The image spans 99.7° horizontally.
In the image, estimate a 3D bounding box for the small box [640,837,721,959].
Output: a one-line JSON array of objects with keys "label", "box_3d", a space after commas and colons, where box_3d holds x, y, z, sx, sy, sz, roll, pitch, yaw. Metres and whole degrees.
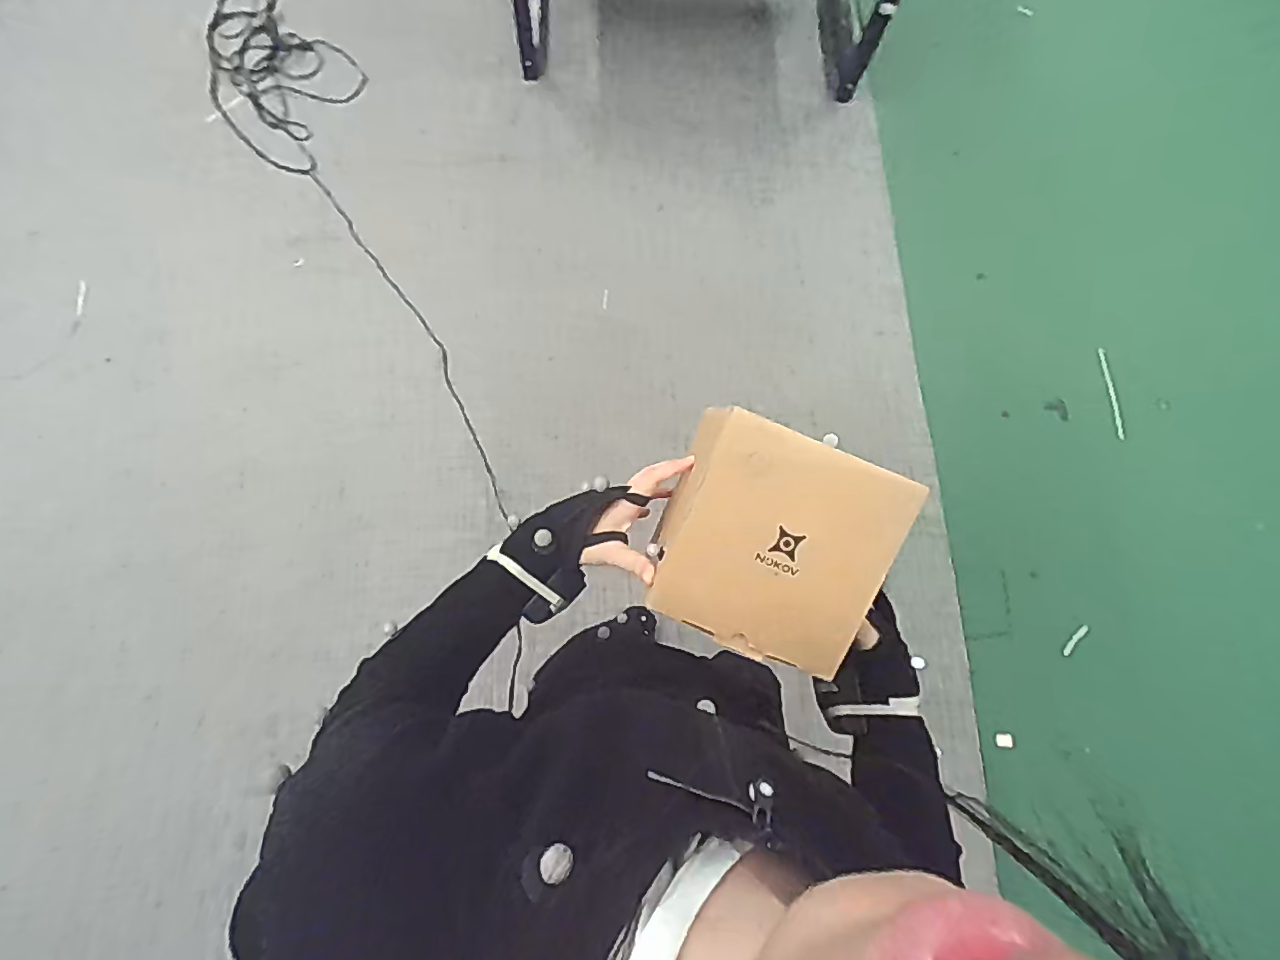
[{"label": "small box", "box_3d": [0.092, 0.986, 1.286, 0.168, 0.176, 0.179, 0, 77, -6]}]

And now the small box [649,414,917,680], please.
[{"label": "small box", "box_3d": [0.111, 0.045, 0.508, 0.168, 0.176, 0.179, 22, 98, -3]}]
